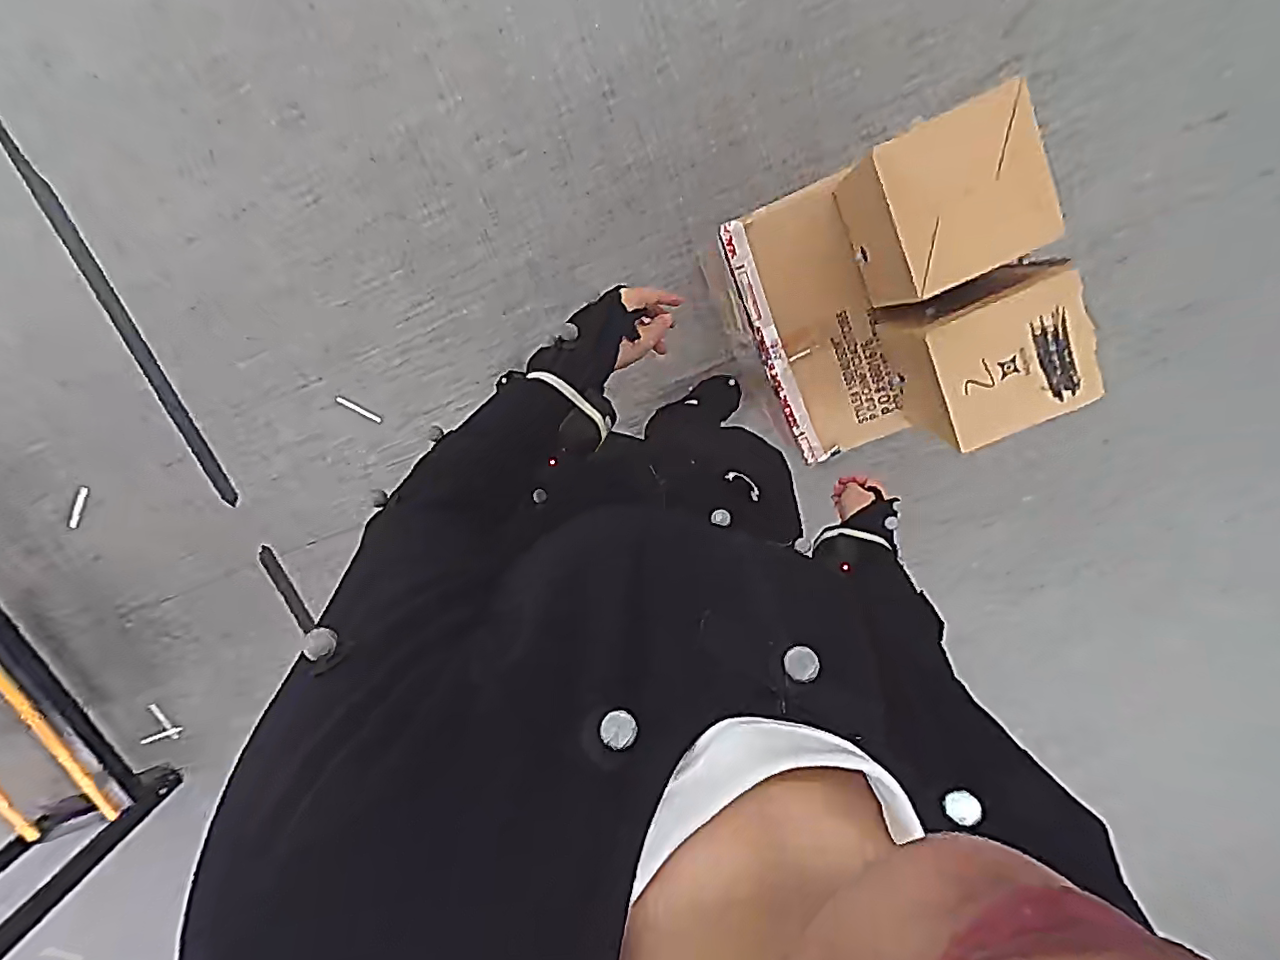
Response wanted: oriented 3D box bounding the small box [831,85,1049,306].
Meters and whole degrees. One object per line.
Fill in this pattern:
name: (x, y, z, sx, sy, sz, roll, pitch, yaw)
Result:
small box: (0.367, -0.338, 0.680, 0.168, 0.176, 0.179, -23, 102, 10)
